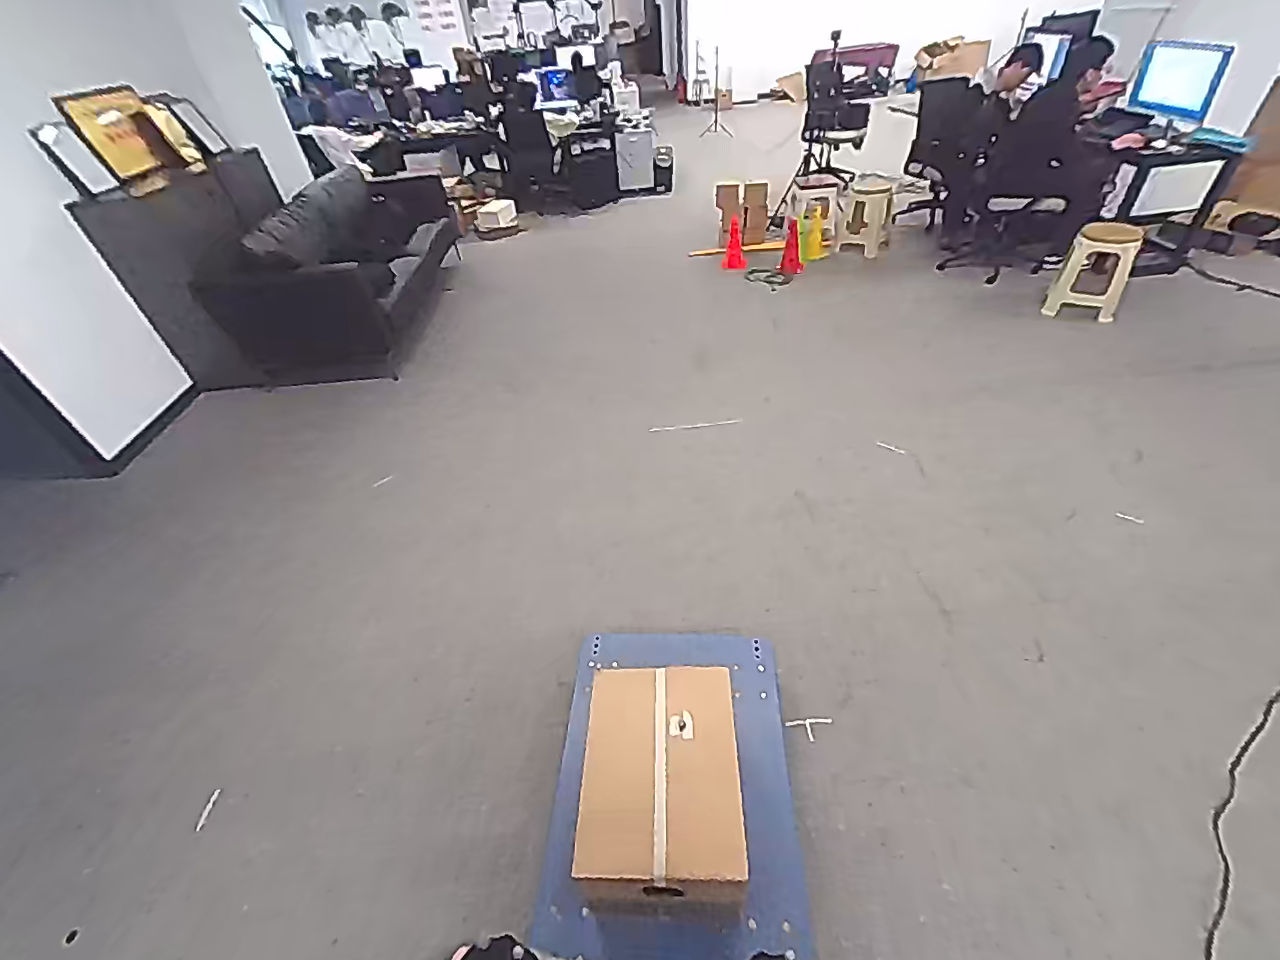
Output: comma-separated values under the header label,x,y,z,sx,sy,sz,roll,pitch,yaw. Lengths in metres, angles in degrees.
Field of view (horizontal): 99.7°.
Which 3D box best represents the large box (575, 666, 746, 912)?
label,x,y,z,sx,sy,sz,roll,pitch,yaw
large box,0.052,0.680,1.204,0.320,0.320,0.408,-2,41,5
